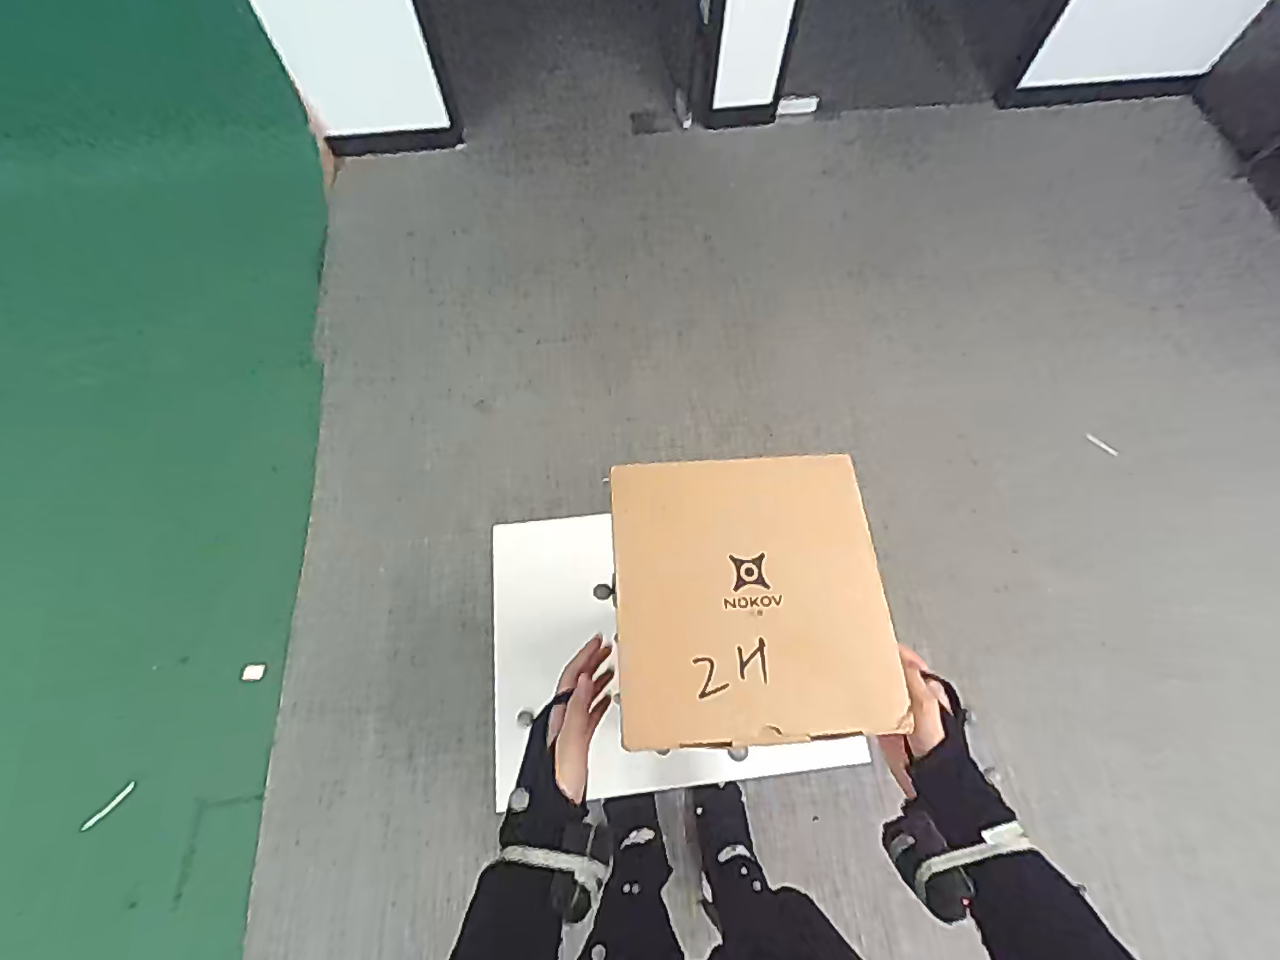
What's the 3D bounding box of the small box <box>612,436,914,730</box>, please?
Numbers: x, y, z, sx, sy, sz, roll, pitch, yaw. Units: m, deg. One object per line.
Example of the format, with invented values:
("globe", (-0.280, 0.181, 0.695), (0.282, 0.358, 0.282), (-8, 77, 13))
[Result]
("small box", (0.064, 0.085, 0.400), (0.168, 0.176, 0.179), (-3, 66, -2))
